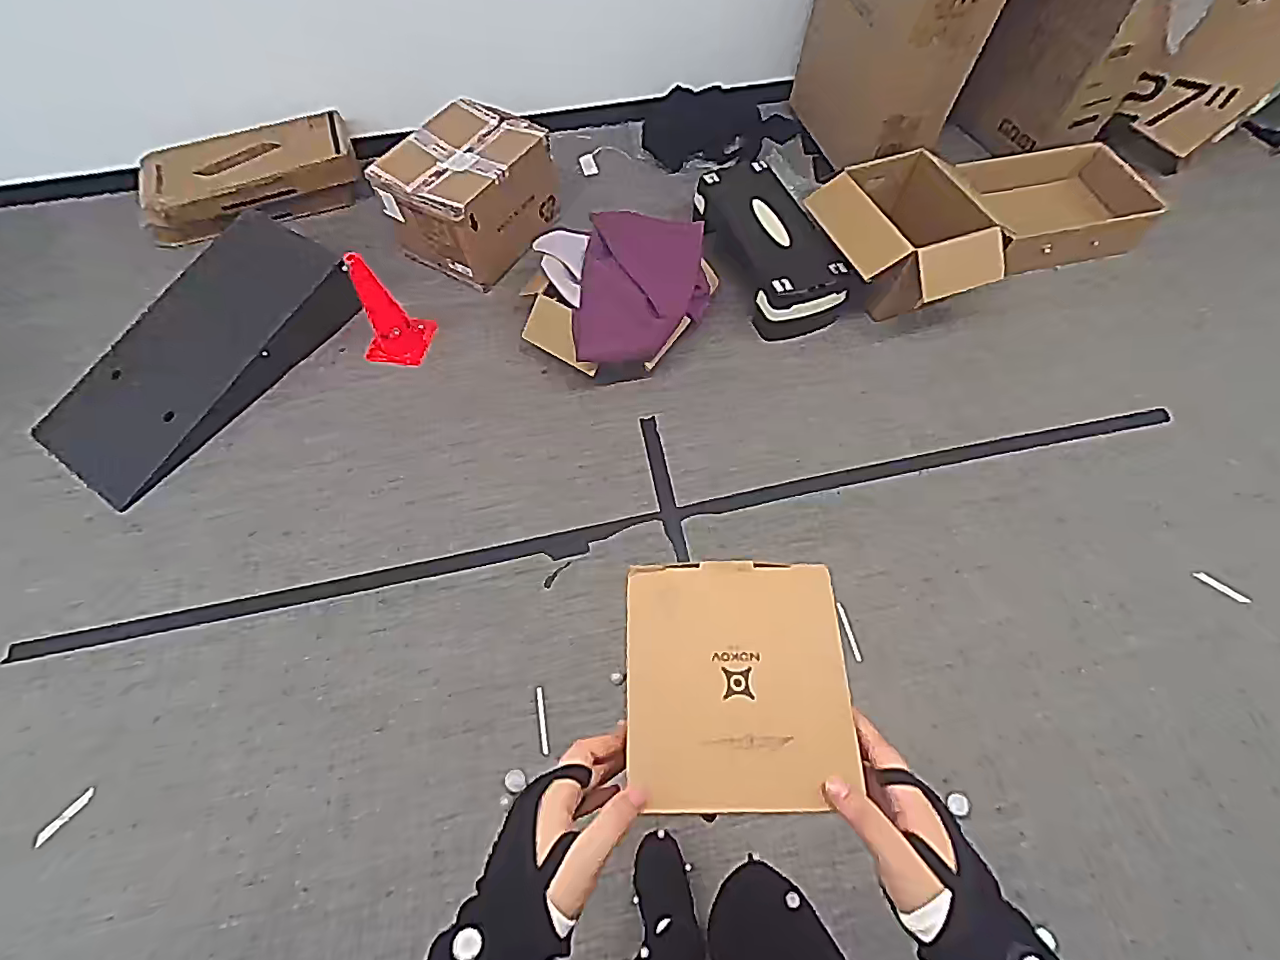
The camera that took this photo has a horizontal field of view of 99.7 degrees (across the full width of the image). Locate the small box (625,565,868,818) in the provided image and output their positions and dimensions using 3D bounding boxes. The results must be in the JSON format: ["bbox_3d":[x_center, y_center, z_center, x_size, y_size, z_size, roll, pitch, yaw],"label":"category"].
[{"bbox_3d":[0.071,0.183,0.470,0.168,0.176,0.179,0,64,0],"label":"small box"}]
